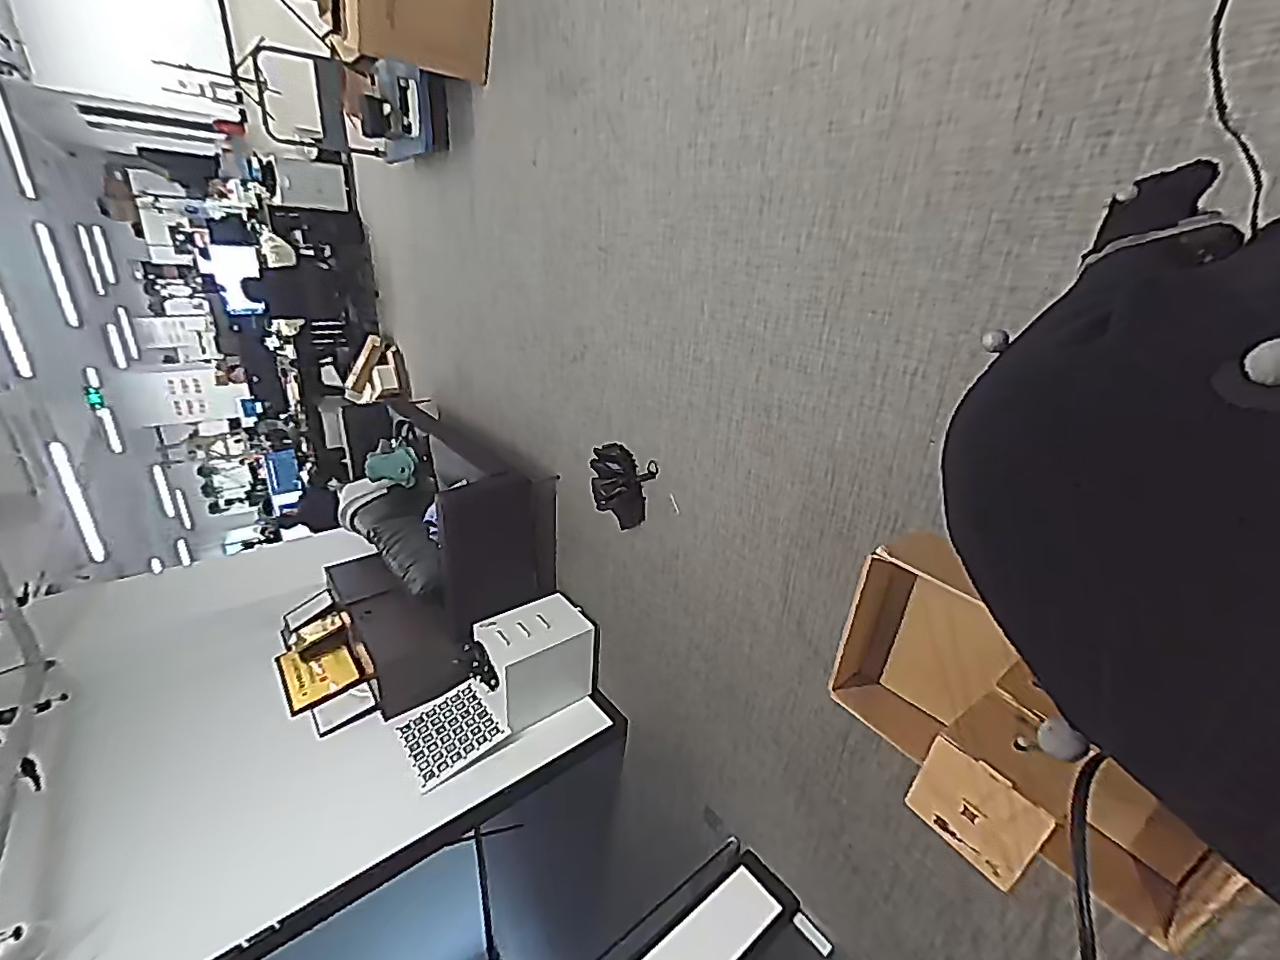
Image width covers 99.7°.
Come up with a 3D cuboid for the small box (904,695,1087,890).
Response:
[{"bbox_3d":[0.563,0.480,0.858,0.168,0.176,0.179,36,128,45],"label":"small box"}]

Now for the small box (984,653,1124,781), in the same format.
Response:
[{"bbox_3d":[0.697,0.438,0.945,0.168,0.176,0.179,36,131,44],"label":"small box"}]
